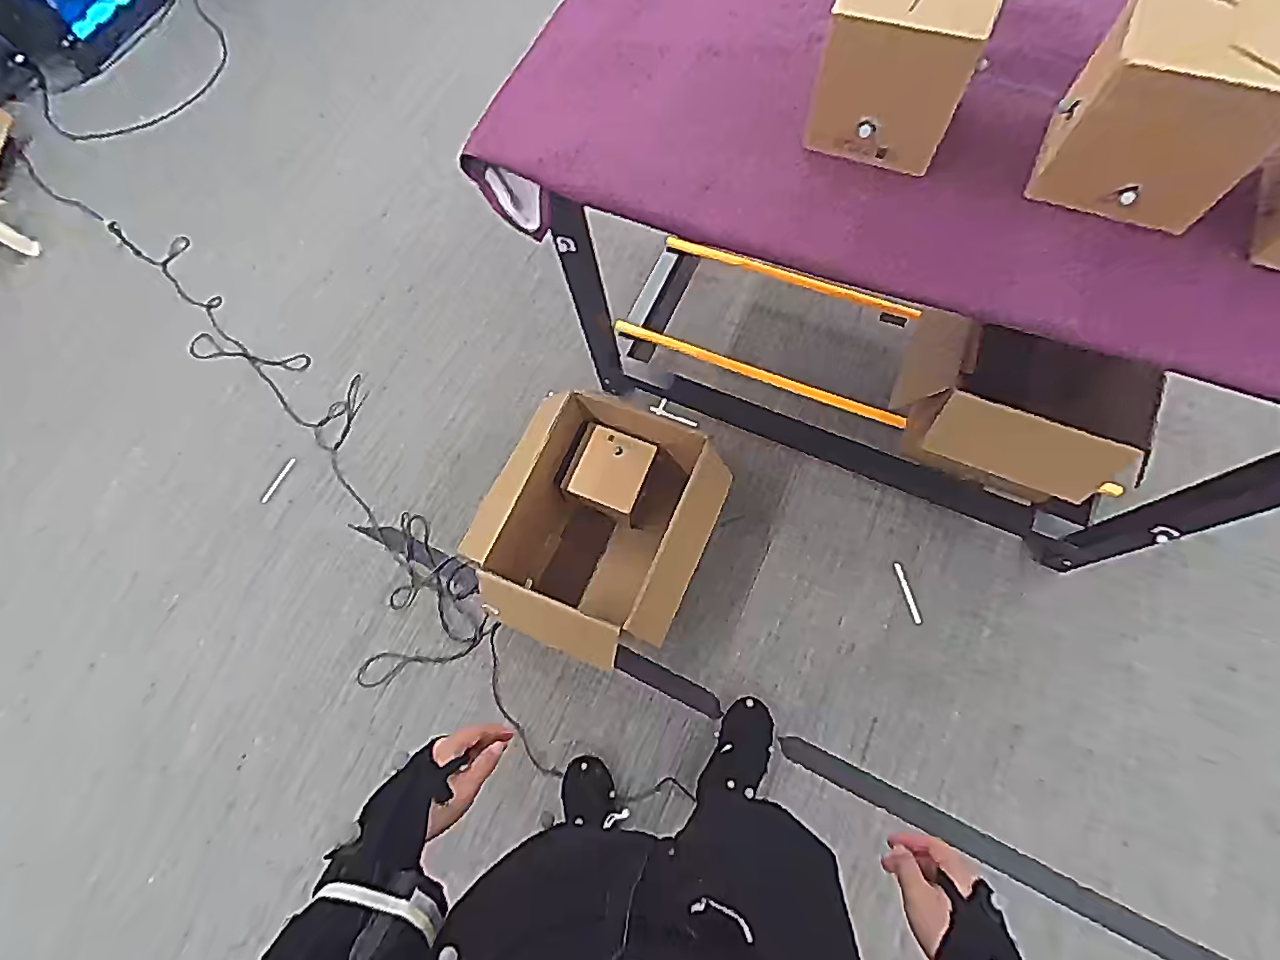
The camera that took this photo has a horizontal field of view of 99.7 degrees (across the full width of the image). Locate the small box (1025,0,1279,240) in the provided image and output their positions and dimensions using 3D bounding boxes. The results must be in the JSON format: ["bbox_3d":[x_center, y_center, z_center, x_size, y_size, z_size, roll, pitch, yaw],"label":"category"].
[{"bbox_3d":[0.592,-0.416,0.612,0.179,0.176,0.168,24,73,14],"label":"small box"}]

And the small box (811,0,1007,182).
[{"bbox_3d":[0.332,-0.523,0.682,0.168,0.176,0.179,23,74,13],"label":"small box"}]

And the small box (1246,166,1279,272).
[{"bbox_3d":[0.805,-0.310,0.552,0.179,0.176,0.168,24,72,13],"label":"small box"}]
